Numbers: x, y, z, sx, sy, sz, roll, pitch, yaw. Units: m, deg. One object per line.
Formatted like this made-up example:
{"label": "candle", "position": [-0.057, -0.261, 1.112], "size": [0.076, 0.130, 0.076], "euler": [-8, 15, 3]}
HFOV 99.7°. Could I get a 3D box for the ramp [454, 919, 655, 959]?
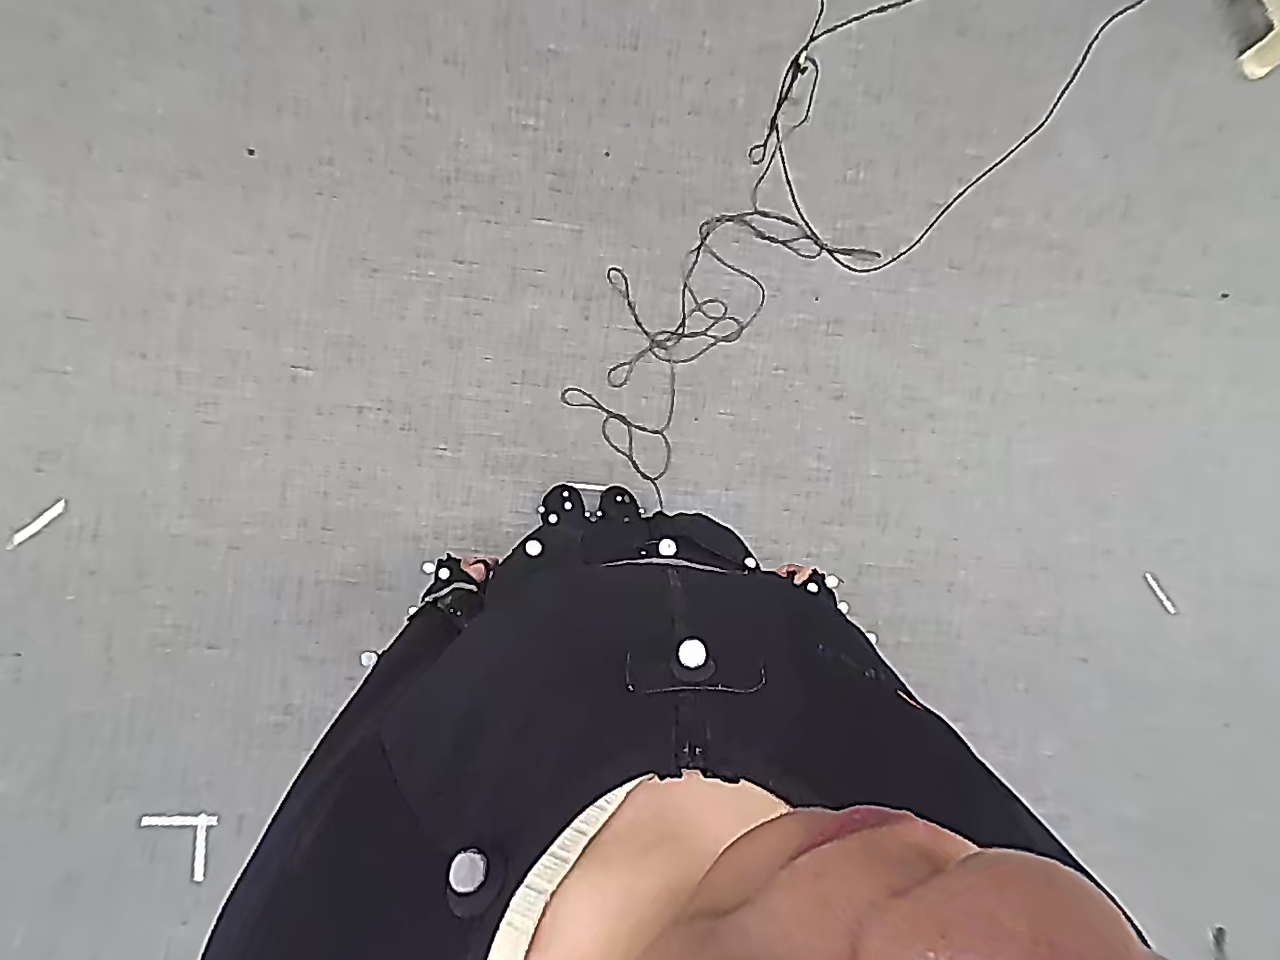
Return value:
{"label": "ramp", "position": [-0.232, 1.578, 1.225], "size": [0.509, 0.206, 0.991], "euler": [2, 86, -3]}
